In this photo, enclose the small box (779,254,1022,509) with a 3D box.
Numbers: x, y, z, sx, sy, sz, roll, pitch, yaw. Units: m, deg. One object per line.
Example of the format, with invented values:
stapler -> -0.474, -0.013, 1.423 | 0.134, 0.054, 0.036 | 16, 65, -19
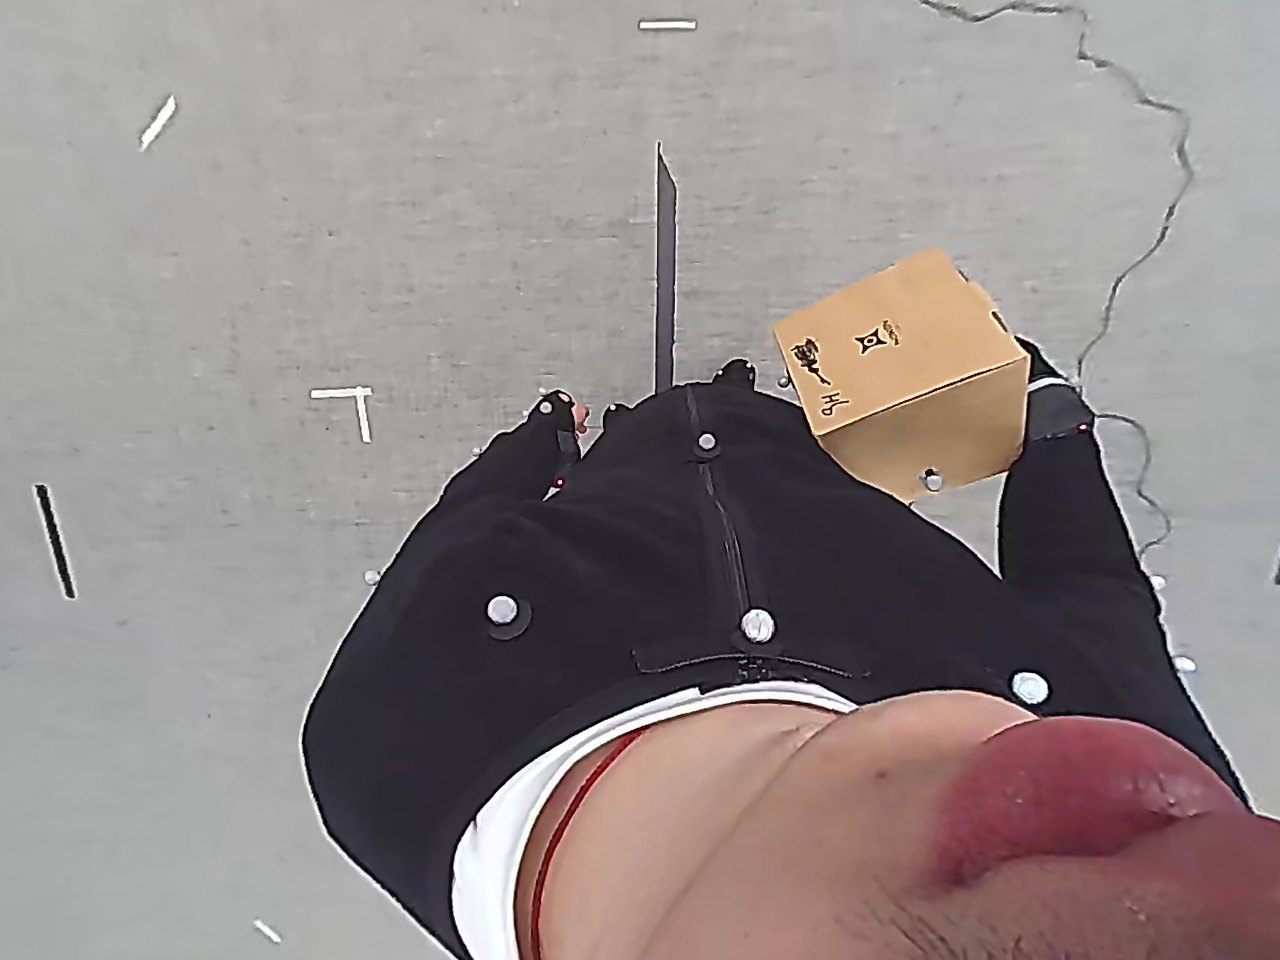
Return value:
small box -> 0.271, -0.095, 0.581 | 0.179, 0.168, 0.176 | -21, 139, 19
